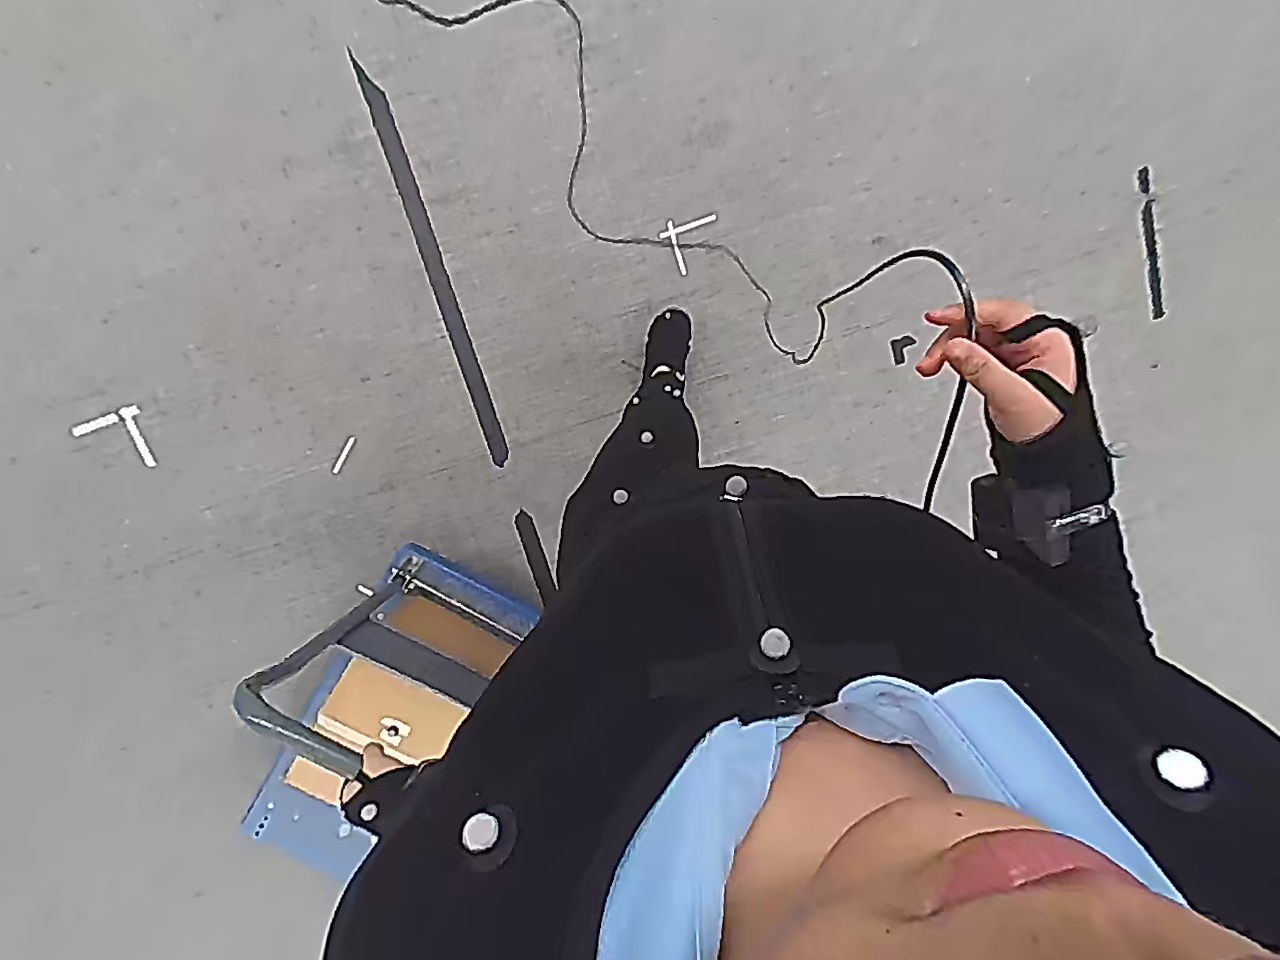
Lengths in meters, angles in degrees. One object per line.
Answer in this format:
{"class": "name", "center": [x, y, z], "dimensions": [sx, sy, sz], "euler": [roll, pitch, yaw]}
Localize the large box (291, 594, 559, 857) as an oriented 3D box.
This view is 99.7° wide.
{"class": "large box", "center": [-0.439, 0.519, 1.203], "dimensions": [0.408, 0.320, 0.320], "euler": [31, 94, -6]}
